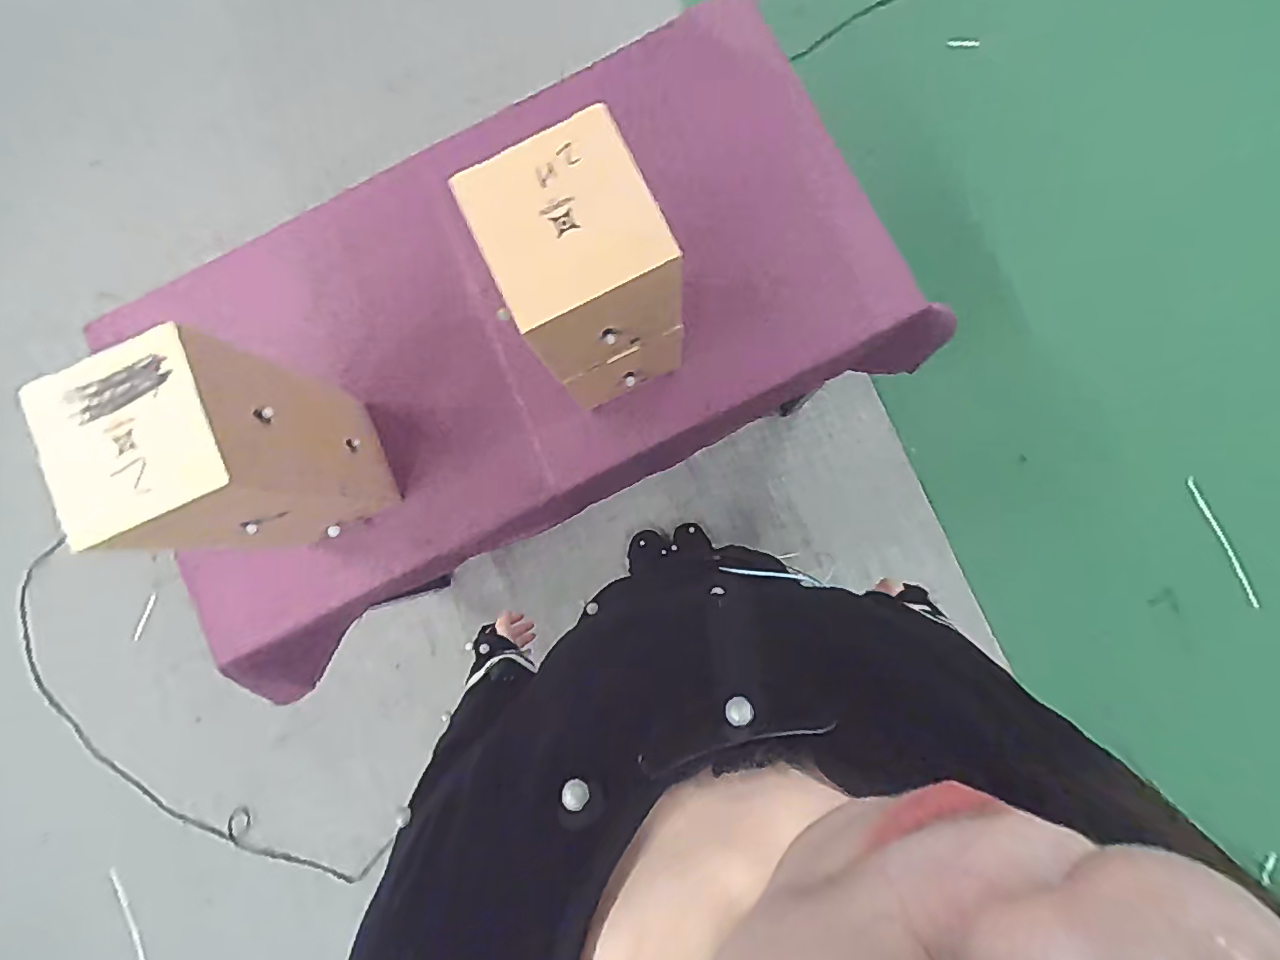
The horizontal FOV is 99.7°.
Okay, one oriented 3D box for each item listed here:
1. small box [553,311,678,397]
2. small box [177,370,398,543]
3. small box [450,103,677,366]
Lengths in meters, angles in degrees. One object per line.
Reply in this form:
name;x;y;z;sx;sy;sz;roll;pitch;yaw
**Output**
small box;-0.055;-0.228;0.749;0.168;0.176;0.179;-26;85;0
small box;-0.475;-0.024;0.754;0.168;0.176;0.179;-24;85;1
small box;-0.068;-0.240;0.584;0.168;0.176;0.179;-26;84;0
